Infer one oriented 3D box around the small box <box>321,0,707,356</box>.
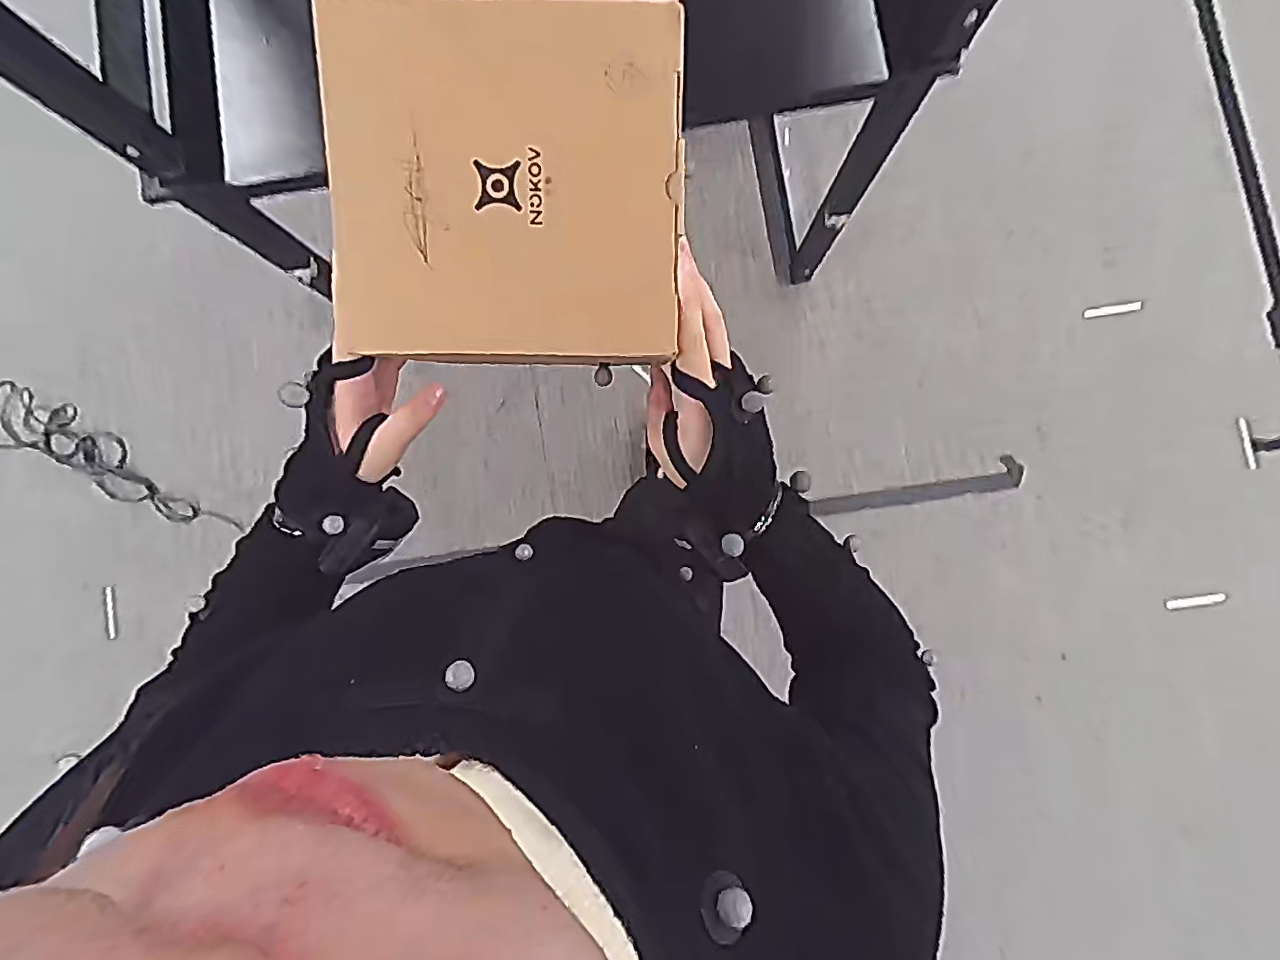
[{"bbox_3d":[-0.059,-0.167,0.335,0.179,0.176,0.168,0,100,0],"label":"small box"}]
